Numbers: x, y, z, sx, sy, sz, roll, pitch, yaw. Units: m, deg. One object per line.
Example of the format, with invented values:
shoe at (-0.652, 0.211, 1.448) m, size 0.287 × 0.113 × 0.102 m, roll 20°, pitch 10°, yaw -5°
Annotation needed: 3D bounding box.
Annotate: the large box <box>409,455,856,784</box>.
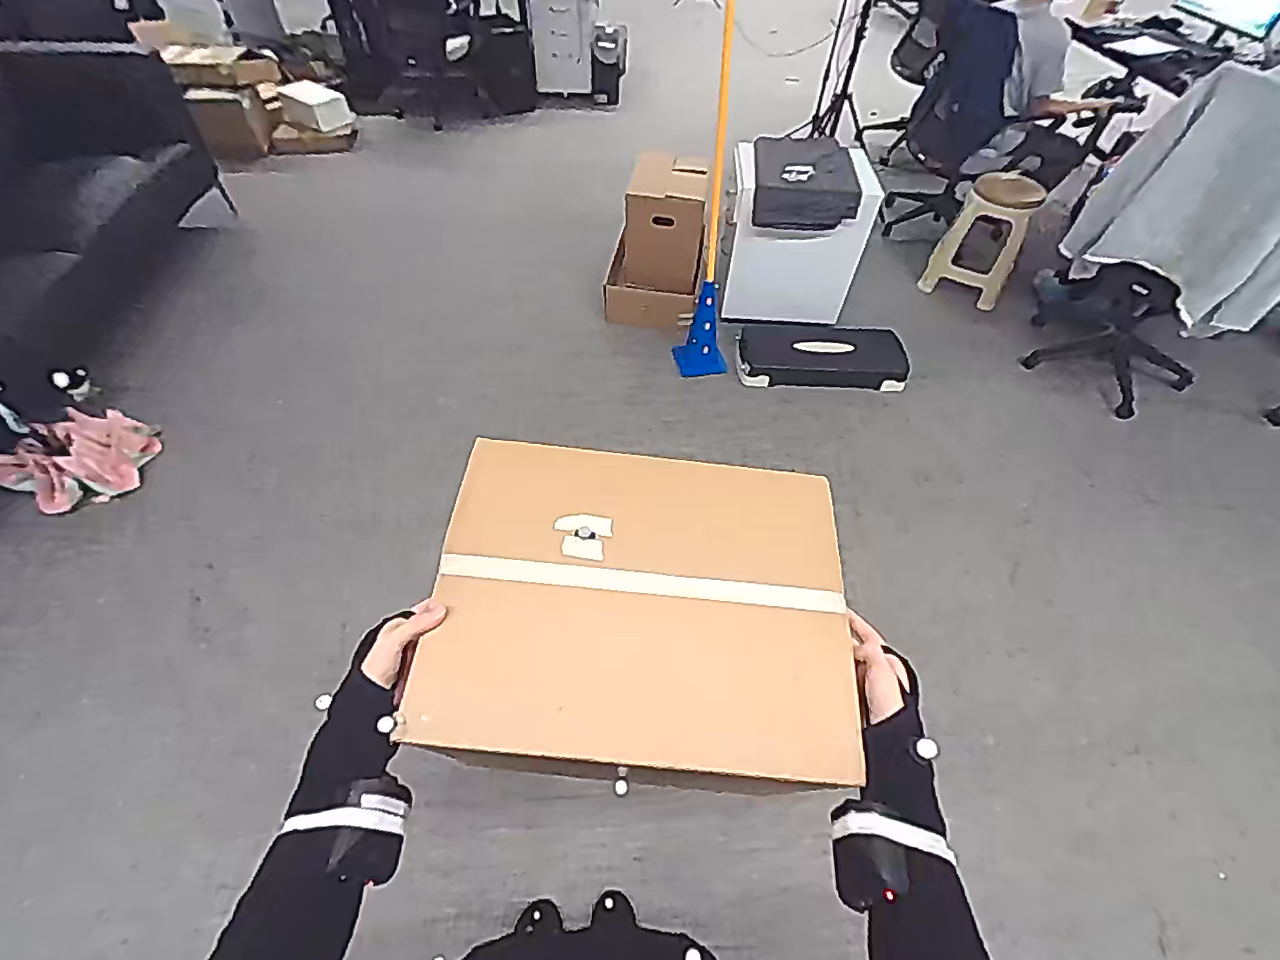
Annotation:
large box at (-0.002, 0.192, 0.678) m, size 0.408 × 0.320 × 0.320 m, roll 6°, pitch 57°, yaw -1°
